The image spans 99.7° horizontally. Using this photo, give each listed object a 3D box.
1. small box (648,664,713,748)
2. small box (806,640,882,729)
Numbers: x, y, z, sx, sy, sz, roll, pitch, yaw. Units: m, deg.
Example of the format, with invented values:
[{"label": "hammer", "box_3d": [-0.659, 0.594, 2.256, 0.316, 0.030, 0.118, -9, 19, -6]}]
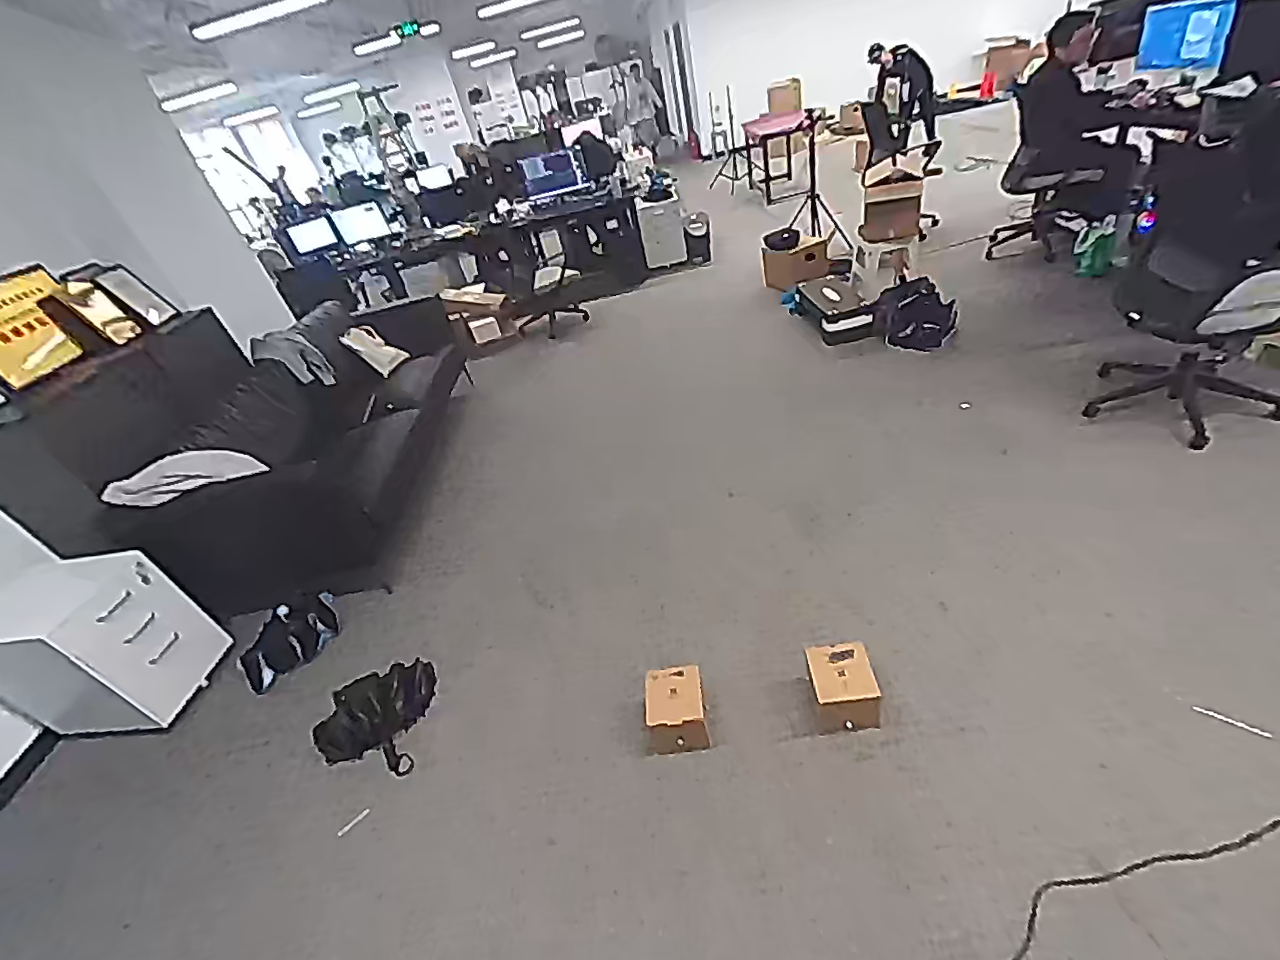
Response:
[{"label": "small box", "box_3d": [0.121, 0.685, 1.626, 0.168, 0.176, 0.179, -10, 36, 8]}, {"label": "small box", "box_3d": [0.585, 0.593, 1.566, 0.168, 0.176, 0.179, -11, 37, 9]}]
